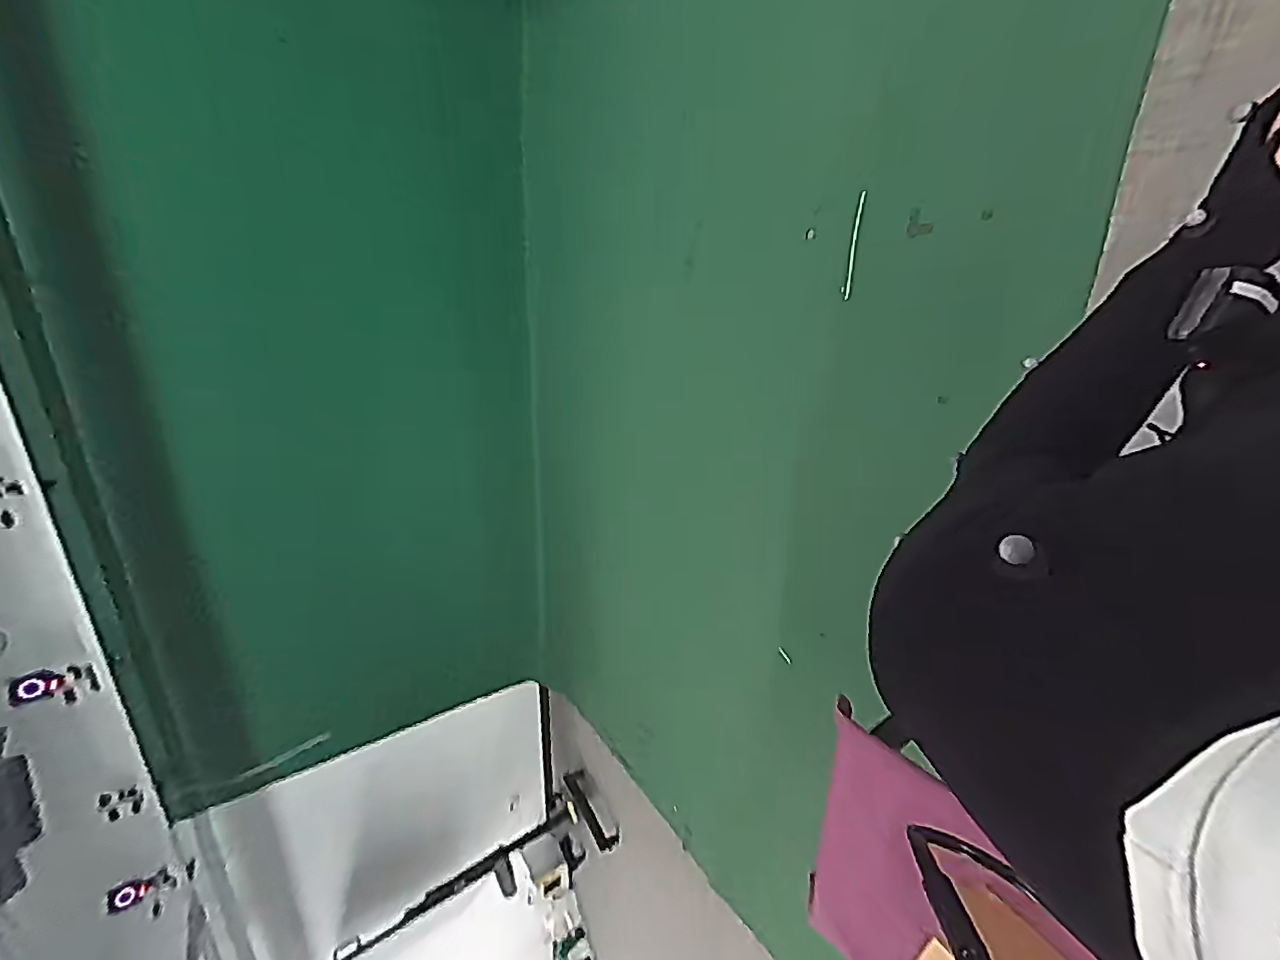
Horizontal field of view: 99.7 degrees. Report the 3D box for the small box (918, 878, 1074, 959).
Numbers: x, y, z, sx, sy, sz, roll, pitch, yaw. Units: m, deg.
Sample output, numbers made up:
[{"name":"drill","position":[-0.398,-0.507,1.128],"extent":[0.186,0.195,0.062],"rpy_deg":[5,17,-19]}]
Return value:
[{"name":"small box","position":[0.611,0.847,0.929],"extent":[0.179,0.176,0.168],"rpy_deg":[37,130,44]}]
